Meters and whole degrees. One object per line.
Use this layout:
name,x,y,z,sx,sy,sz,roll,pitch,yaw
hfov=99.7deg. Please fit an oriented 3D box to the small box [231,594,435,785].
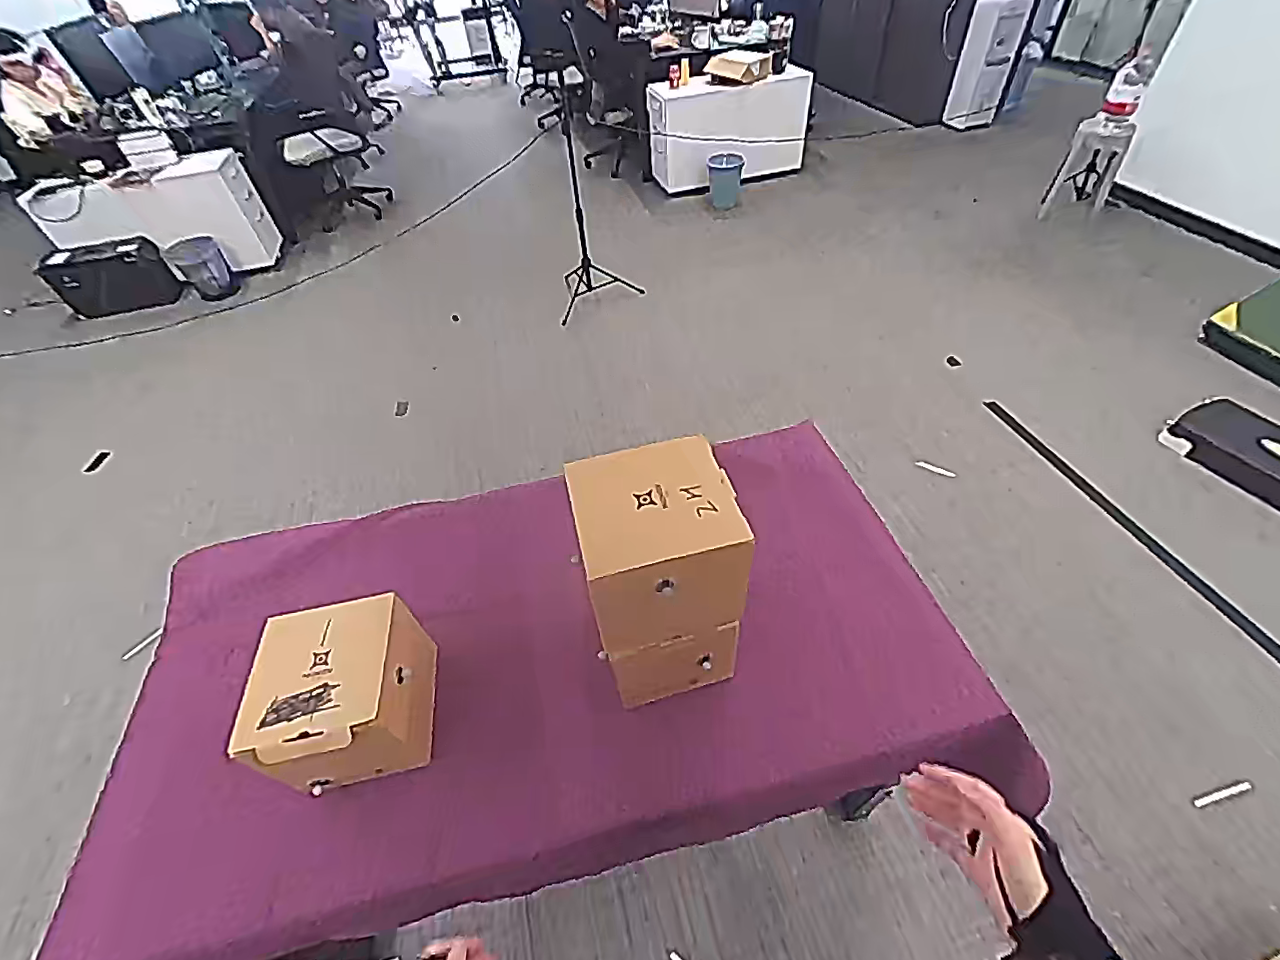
small box,-0.384,0.283,0.718,0.168,0.176,0.179,-11,47,-5

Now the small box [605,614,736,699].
small box,0.027,0.189,0.766,0.168,0.176,0.179,-14,47,-7

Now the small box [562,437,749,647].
small box,0.016,0.077,0.646,0.179,0.176,0.168,-12,48,-7
